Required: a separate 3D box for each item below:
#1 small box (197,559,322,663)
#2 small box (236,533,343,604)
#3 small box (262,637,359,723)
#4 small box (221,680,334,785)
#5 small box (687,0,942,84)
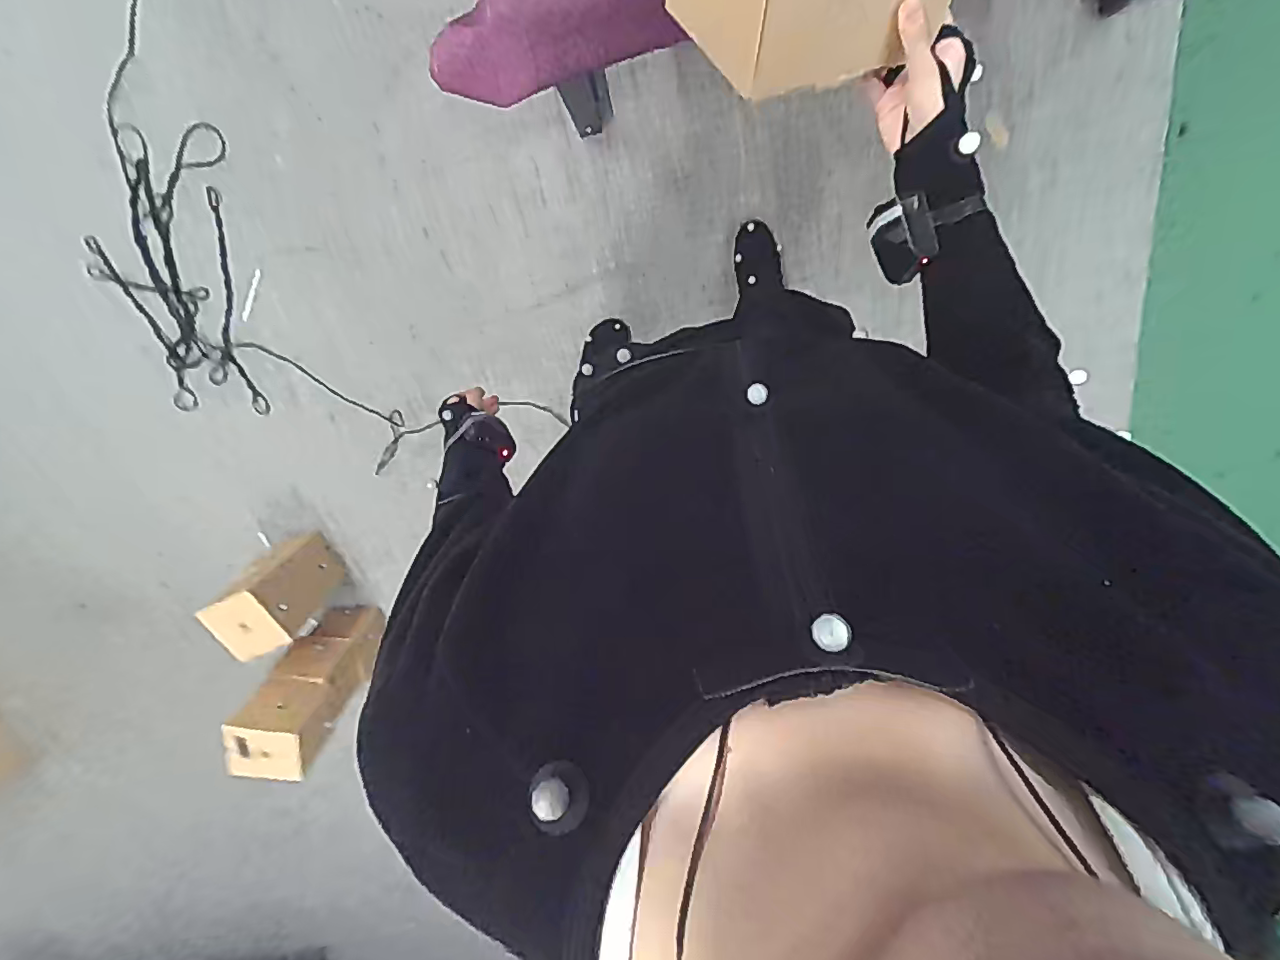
[{"bbox_3d":[-0.995,0.342,1.433,0.168,0.176,0.179,-23,111,8],"label":"small box"},{"bbox_3d":[-1.009,0.278,1.582,0.179,0.176,0.168,-19,111,8],"label":"small box"},{"bbox_3d":[-0.921,0.574,1.530,0.168,0.176,0.179,5,111,-1],"label":"small box"},{"bbox_3d":[-0.914,0.636,1.378,0.179,0.176,0.168,9,111,-4],"label":"small box"},{"bbox_3d":[0.125,-0.435,0.383,0.168,0.176,0.179,-21,155,-8],"label":"small box"}]
